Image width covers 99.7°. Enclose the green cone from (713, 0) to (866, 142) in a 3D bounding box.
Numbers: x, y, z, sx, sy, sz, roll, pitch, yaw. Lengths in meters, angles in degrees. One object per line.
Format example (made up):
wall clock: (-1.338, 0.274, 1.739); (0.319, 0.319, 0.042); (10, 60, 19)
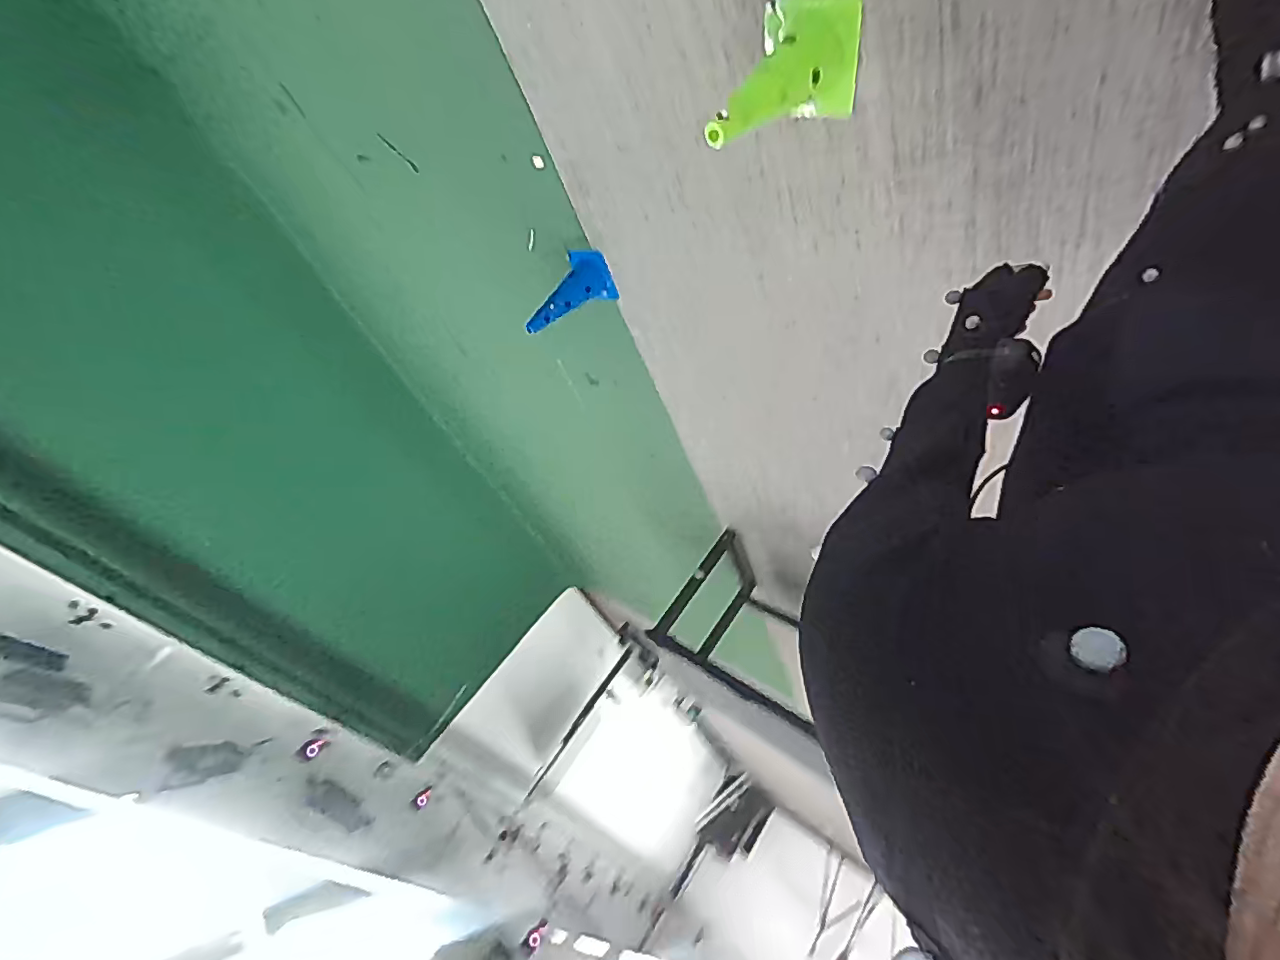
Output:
green cone: (0.251, -0.743, 1.035); (0.202, 0.368, 0.200); (26, 152, 31)
